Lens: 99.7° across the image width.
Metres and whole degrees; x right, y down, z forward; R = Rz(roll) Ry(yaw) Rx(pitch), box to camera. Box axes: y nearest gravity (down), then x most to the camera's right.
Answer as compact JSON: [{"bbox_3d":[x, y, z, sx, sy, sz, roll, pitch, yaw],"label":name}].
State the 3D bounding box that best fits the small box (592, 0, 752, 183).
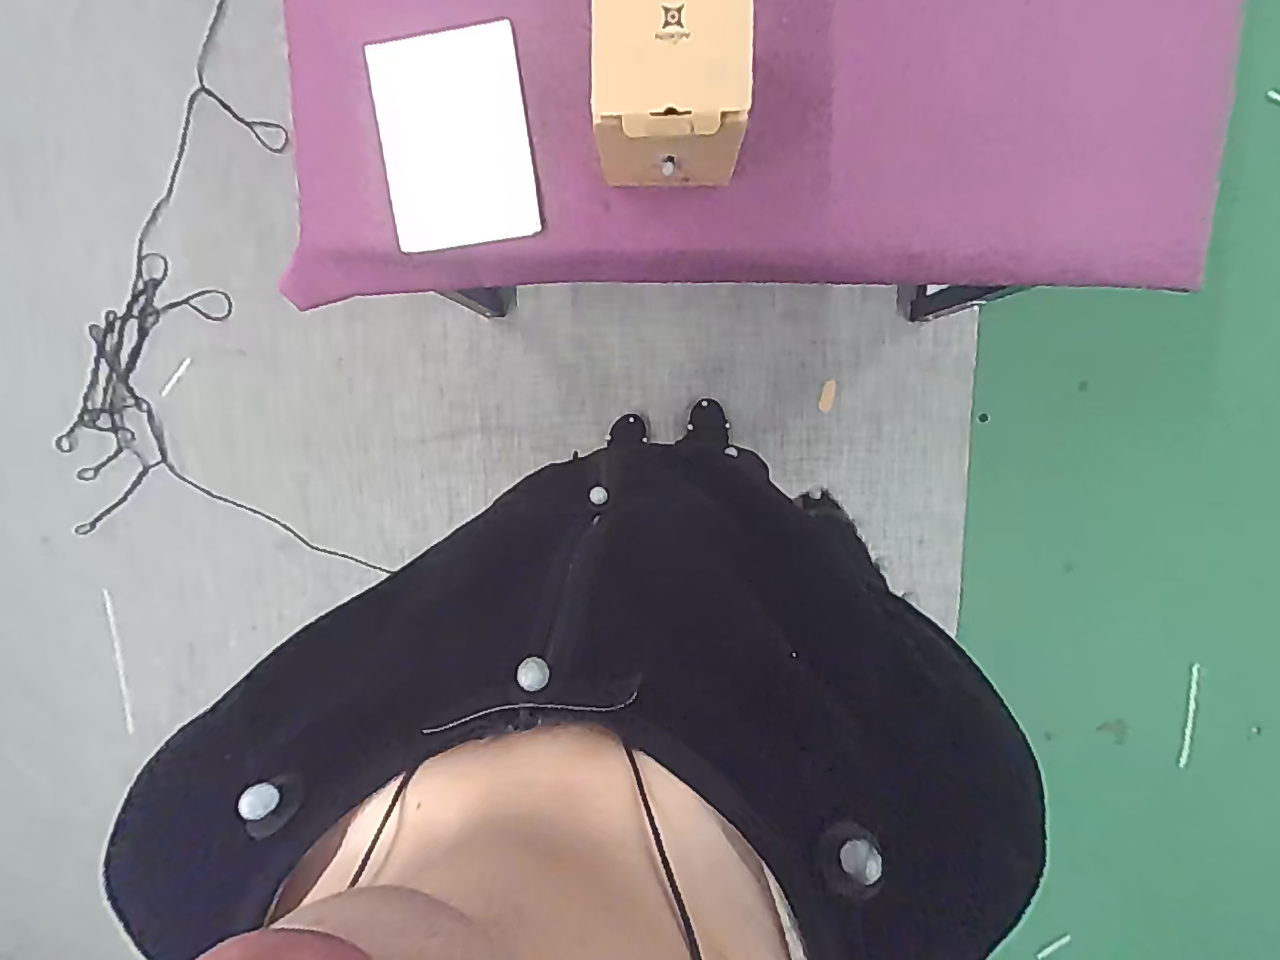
[{"bbox_3d":[0.036,-0.471,0.636,0.168,0.176,0.179,1,98,2],"label":"small box"}]
